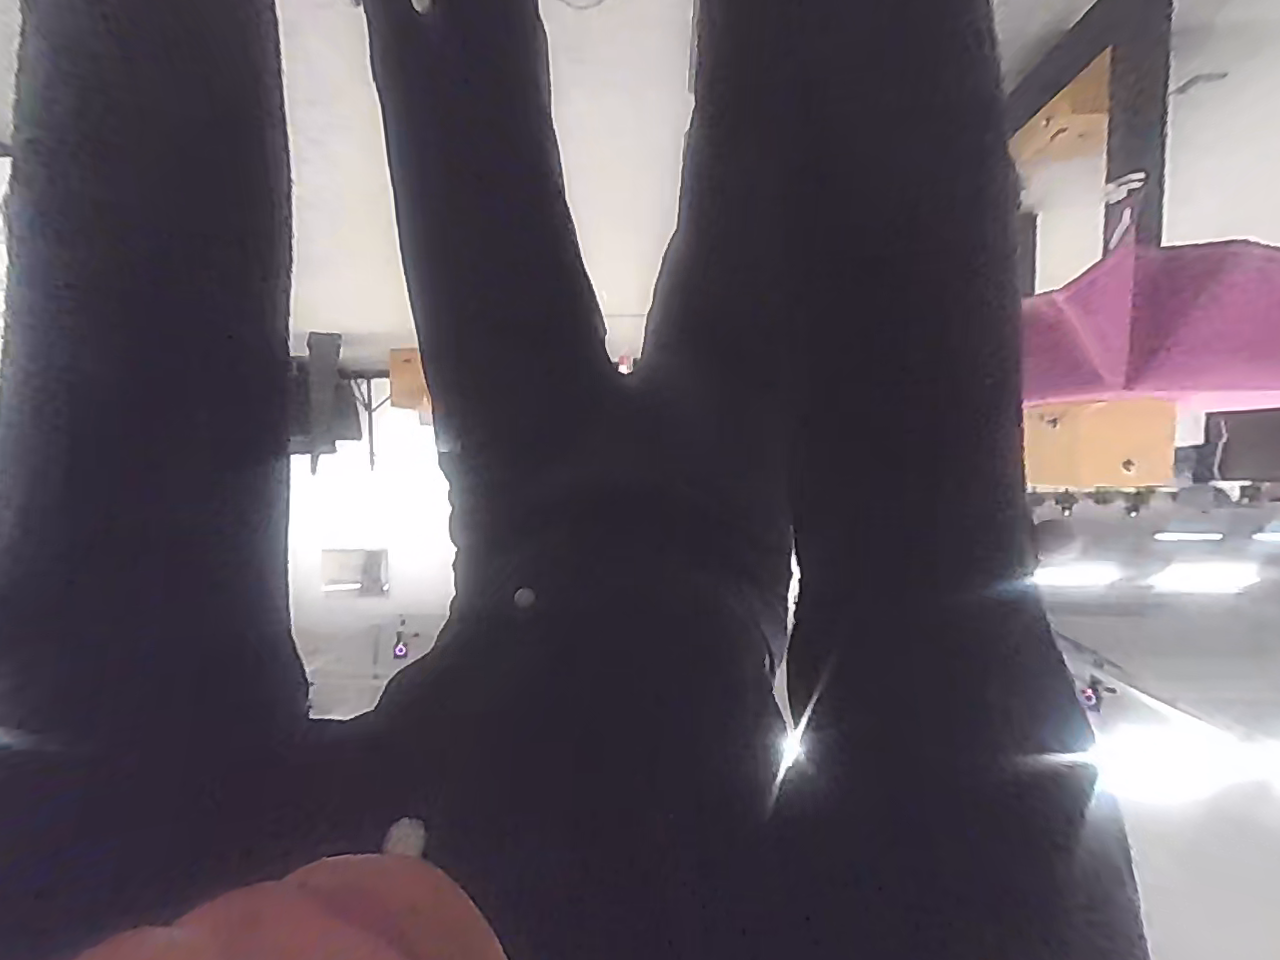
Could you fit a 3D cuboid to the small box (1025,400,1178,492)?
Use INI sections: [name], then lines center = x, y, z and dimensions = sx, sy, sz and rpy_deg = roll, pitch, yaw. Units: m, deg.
[small box]
center = 0.909, -0.069, 1.073
dimensions = 0.179, 0.176, 0.168
rpy_deg = 0, -177, 3
